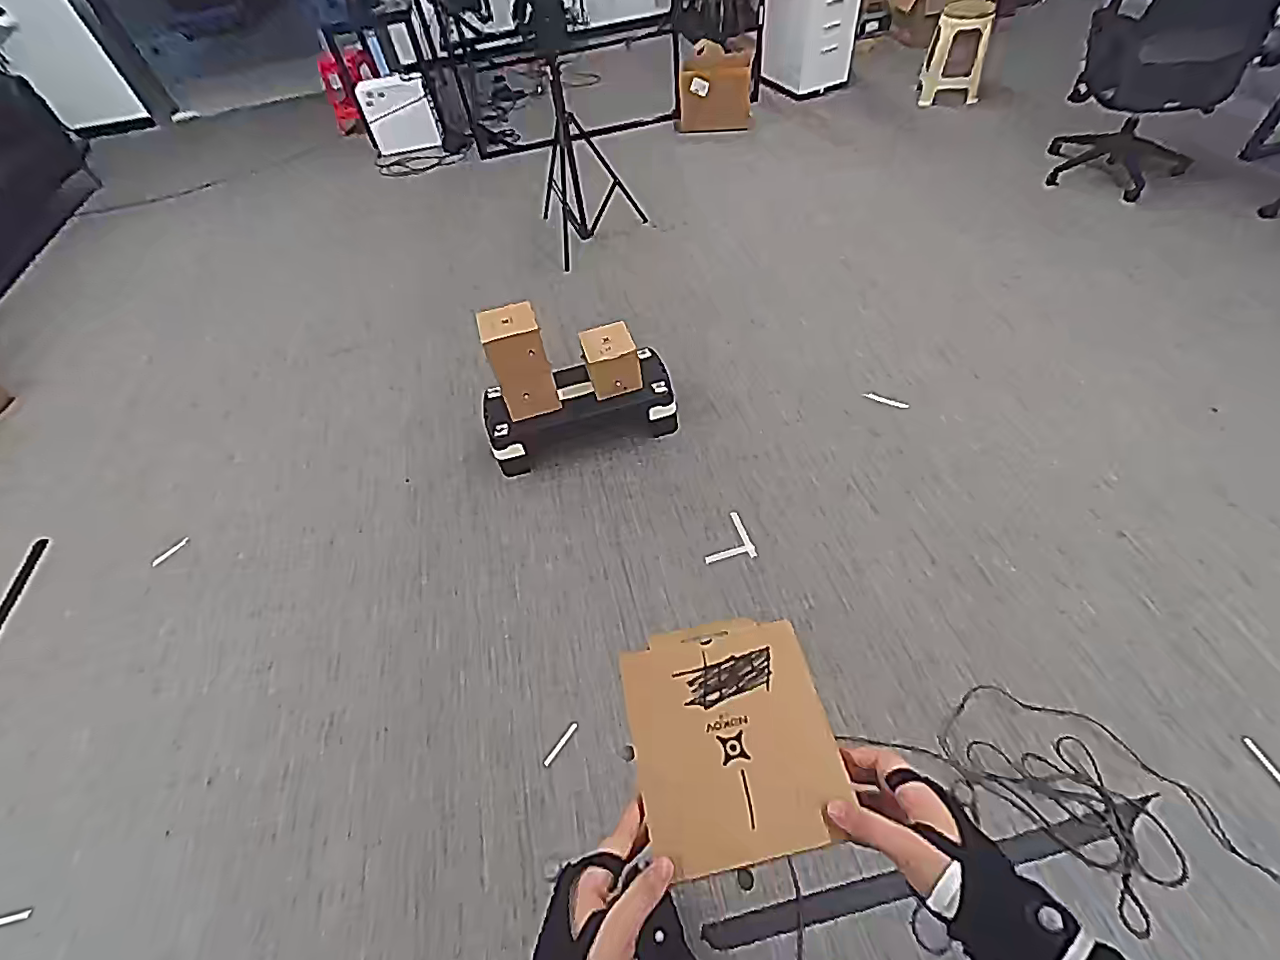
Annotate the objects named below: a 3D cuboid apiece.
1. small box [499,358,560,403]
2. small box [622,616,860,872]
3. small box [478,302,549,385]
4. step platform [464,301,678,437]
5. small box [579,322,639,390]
[{"bbox_3d":[-0.379,-0.331,1.845,0.179,0.176,0.168,-17,52,-6],"label":"small box"},{"bbox_3d":[0.079,0.258,0.525,0.168,0.176,0.179,-11,54,-4],"label":"small box"},{"bbox_3d":[-0.396,-0.430,1.715,0.179,0.176,0.168,-18,51,-6],"label":"small box"},{"bbox_3d":[-0.221,-0.370,1.808,0.684,0.204,0.286,-15,52,-5],"label":"step platform"},{"bbox_3d":[-0.101,-0.412,1.869,0.168,0.176,0.179,-17,53,-5],"label":"small box"}]
